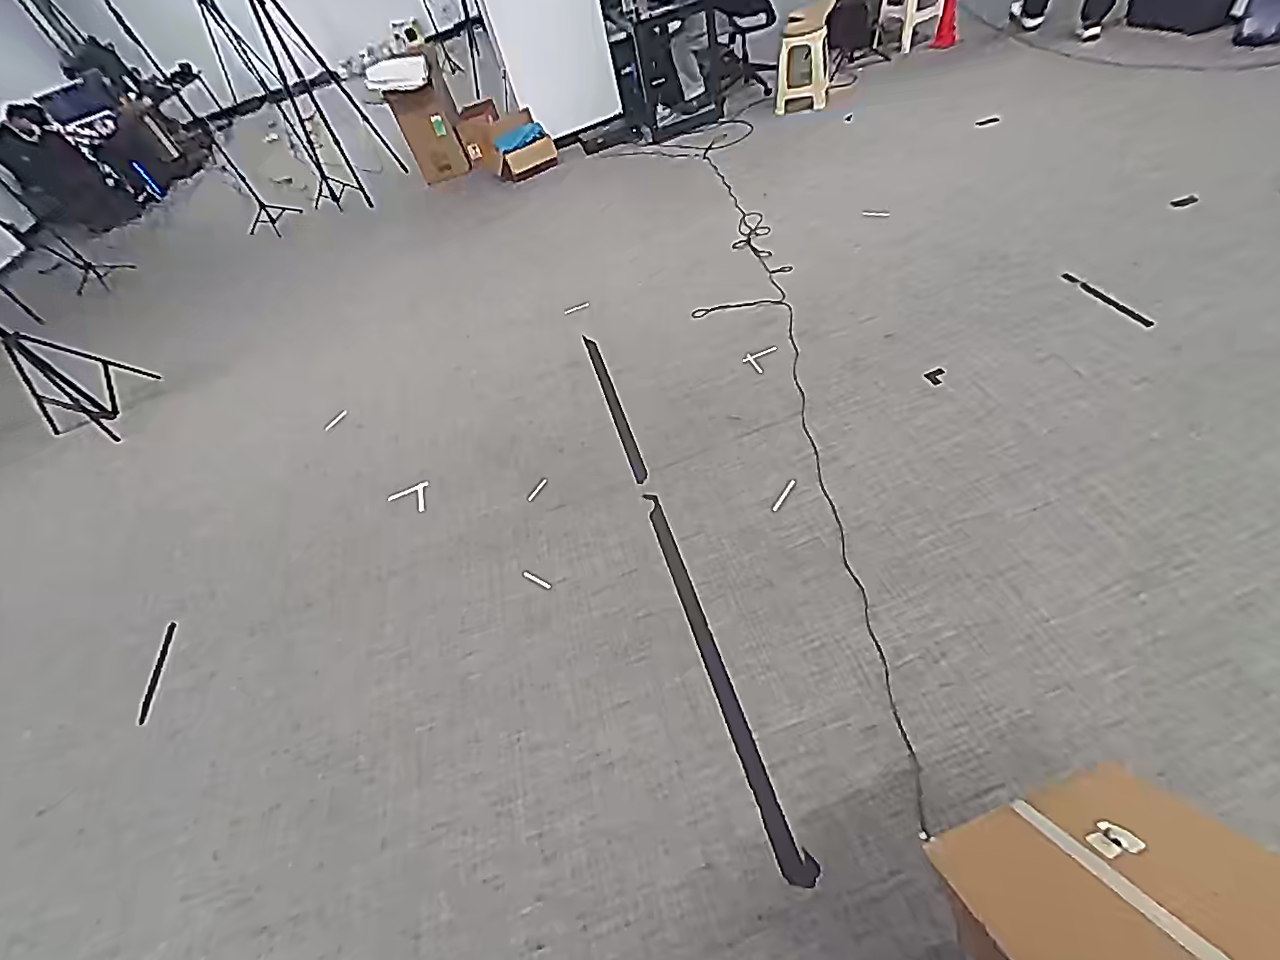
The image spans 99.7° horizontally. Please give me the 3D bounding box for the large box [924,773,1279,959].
[{"bbox_3d":[0.623,0.621,0.608,0.320,0.408,0.320,-23,84,0],"label":"large box"}]
